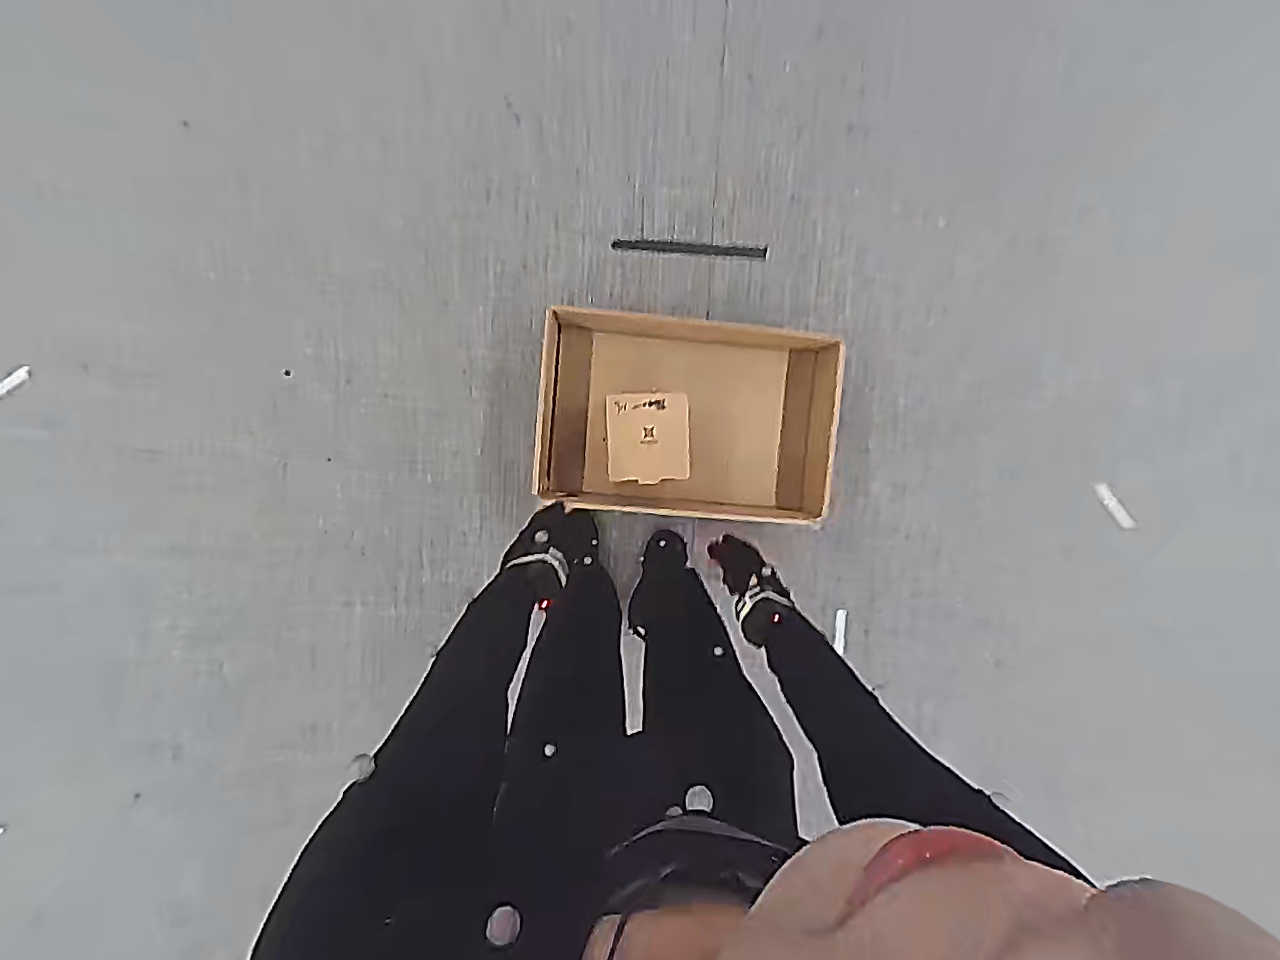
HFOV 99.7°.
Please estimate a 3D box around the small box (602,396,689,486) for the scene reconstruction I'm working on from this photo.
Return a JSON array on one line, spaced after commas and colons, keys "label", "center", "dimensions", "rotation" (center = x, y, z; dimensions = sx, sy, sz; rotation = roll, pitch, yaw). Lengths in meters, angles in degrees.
[{"label": "small box", "center": [0.007, -0.084, 1.145], "dimensions": [0.168, 0.176, 0.179], "rotation": [-2, 94, -7]}]
